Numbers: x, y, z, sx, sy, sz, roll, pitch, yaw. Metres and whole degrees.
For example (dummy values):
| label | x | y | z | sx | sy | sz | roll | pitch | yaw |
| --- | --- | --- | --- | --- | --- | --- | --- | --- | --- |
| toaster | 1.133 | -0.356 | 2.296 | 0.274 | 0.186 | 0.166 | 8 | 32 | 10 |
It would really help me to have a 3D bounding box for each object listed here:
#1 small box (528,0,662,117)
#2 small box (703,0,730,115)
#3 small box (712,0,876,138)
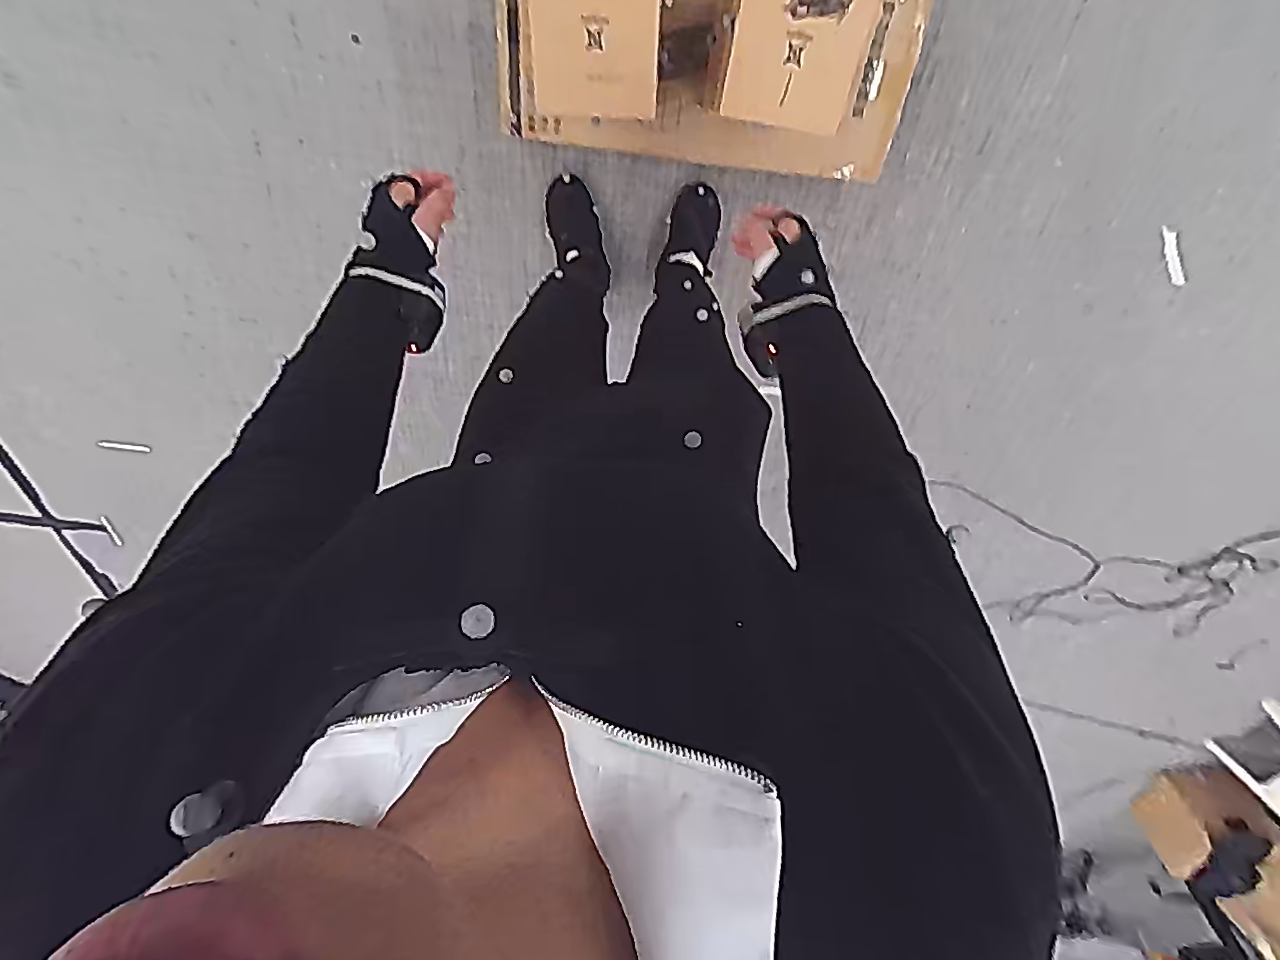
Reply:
| label | x | y | z | sx | sy | sz | roll | pitch | yaw |
| --- | --- | --- | --- | --- | --- | --- | --- | --- | --- |
| small box | -0.056 | -0.614 | 0.748 | 0.168 | 0.176 | 0.179 | 2 | 128 | 2 |
| small box | 0.197 | -0.696 | 0.881 | 0.168 | 0.176 | 0.179 | 6 | 127 | -1 |
| small box | 0.200 | -0.598 | 0.749 | 0.168 | 0.176 | 0.179 | 9 | 127 | -3 |
